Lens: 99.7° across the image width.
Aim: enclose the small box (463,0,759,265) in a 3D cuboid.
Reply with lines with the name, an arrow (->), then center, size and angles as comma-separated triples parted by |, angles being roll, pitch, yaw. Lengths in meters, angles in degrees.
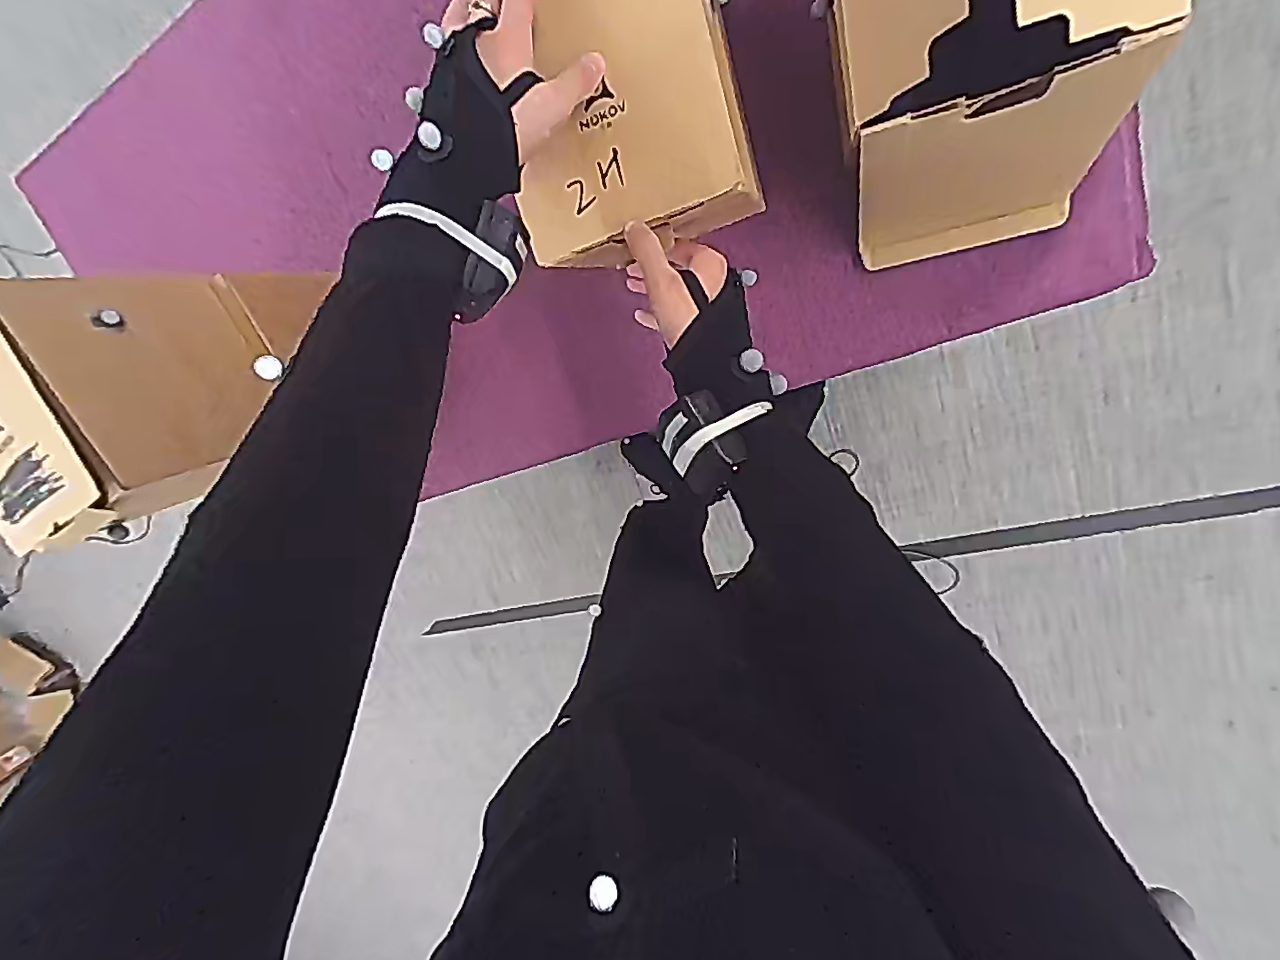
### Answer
small box -> -0.006, -0.289, 0.446 | 0.168, 0.176, 0.179 | -11, 107, 22
